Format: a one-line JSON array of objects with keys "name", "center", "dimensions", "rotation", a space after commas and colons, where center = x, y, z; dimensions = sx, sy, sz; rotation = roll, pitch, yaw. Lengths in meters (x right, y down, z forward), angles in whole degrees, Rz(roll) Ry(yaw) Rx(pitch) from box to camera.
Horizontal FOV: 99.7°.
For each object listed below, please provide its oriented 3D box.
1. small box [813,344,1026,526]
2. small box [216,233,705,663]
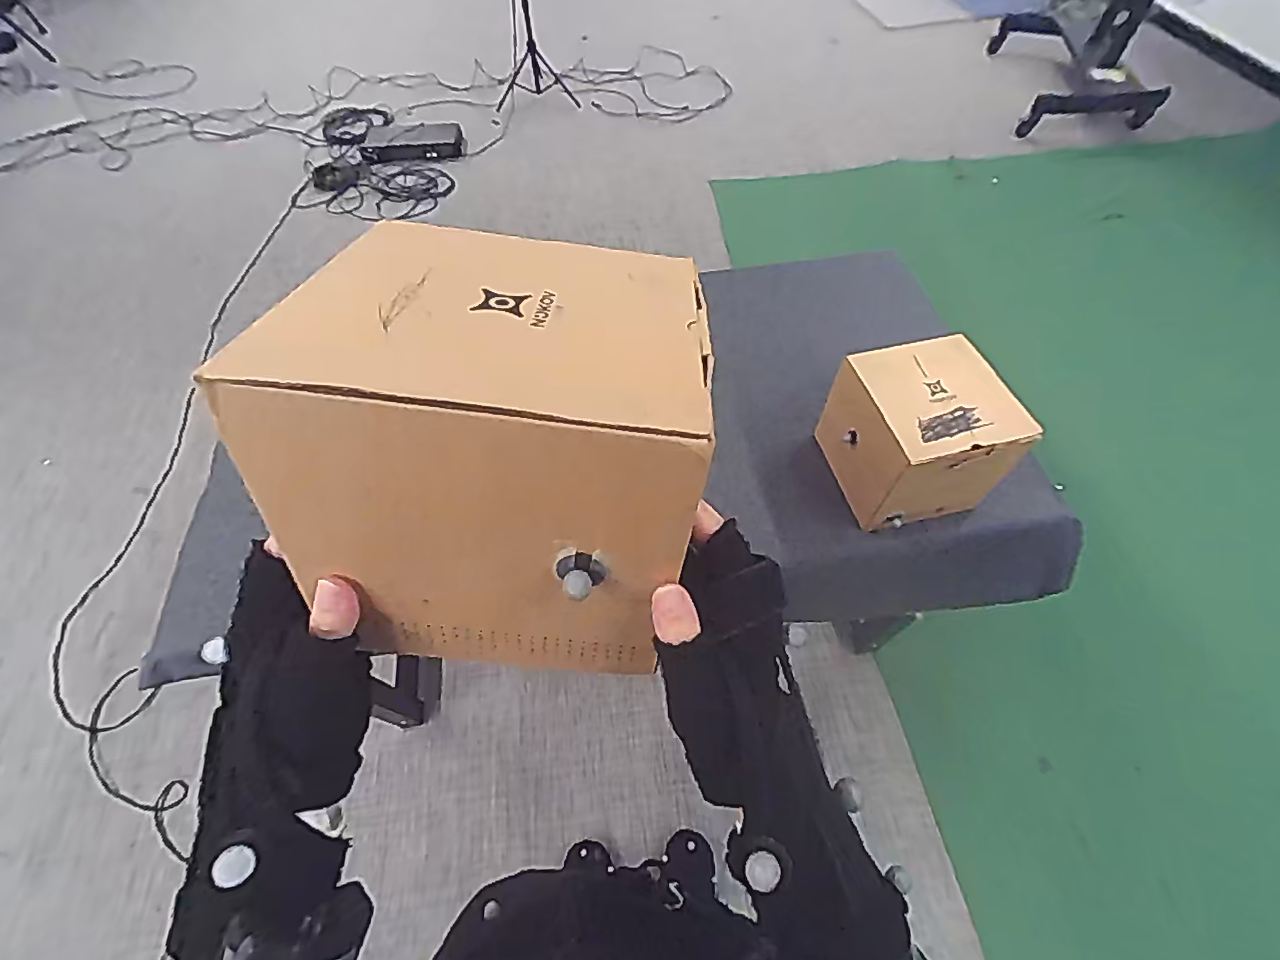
[{"name": "small box", "center": [0.357, -0.052, 0.732], "dimensions": [0.168, 0.176, 0.179], "rotation": [-11, 56, -6]}, {"name": "small box", "center": [-0.068, -0.016, 0.304], "dimensions": [0.179, 0.176, 0.168], "rotation": [6, 41, -3]}]
